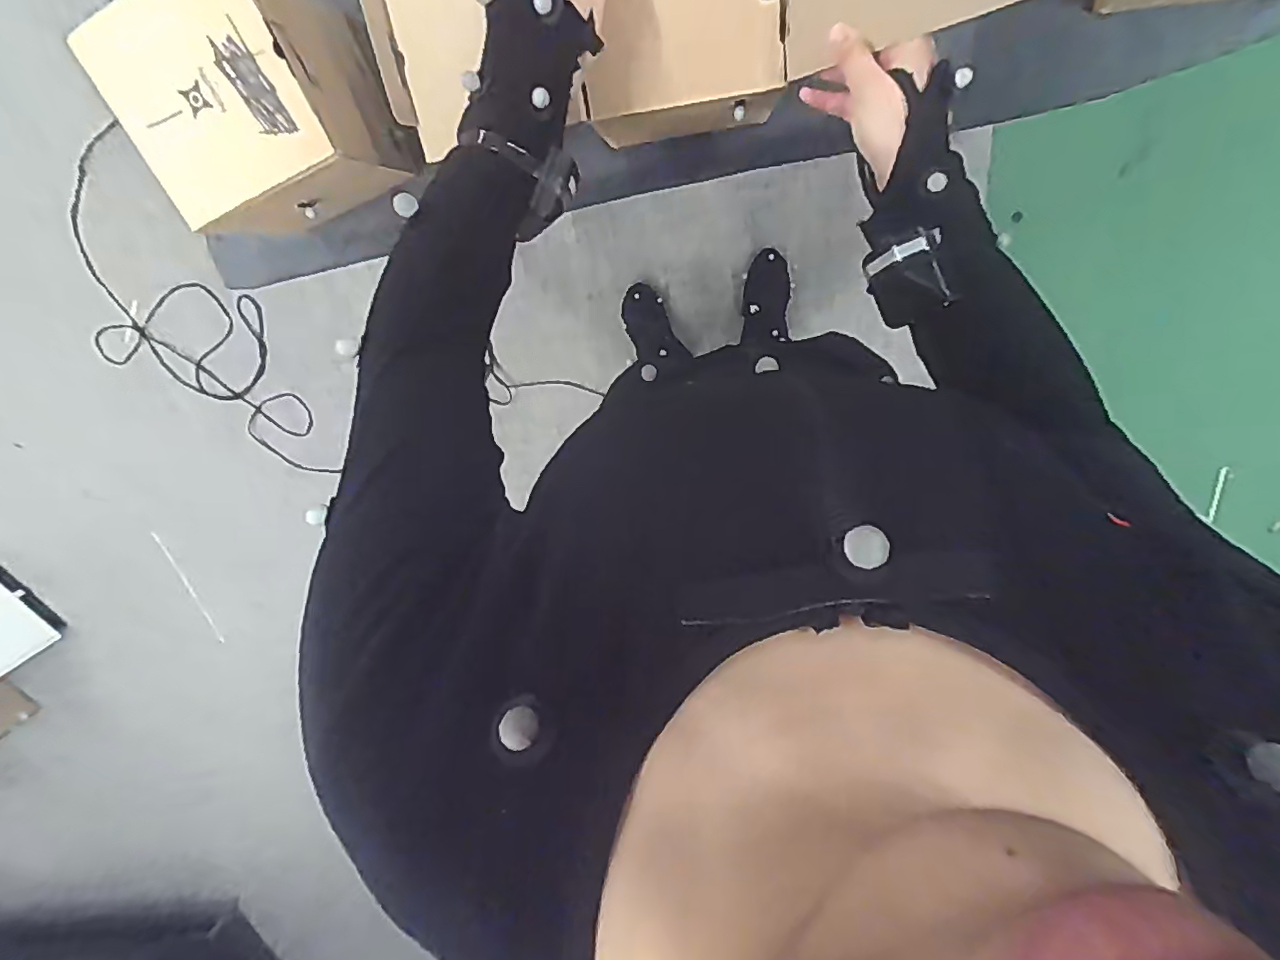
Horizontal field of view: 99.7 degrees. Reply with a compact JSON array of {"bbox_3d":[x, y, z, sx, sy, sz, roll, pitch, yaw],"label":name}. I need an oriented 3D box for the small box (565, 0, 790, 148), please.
[{"bbox_3d":[0.034,-0.416,0.490,0.179,0.176,0.168,-5,115,8],"label":"small box"}]

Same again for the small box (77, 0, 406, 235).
[{"bbox_3d":[-0.367,-0.365,0.544,0.179,0.176,0.168,-18,112,13],"label":"small box"}]
